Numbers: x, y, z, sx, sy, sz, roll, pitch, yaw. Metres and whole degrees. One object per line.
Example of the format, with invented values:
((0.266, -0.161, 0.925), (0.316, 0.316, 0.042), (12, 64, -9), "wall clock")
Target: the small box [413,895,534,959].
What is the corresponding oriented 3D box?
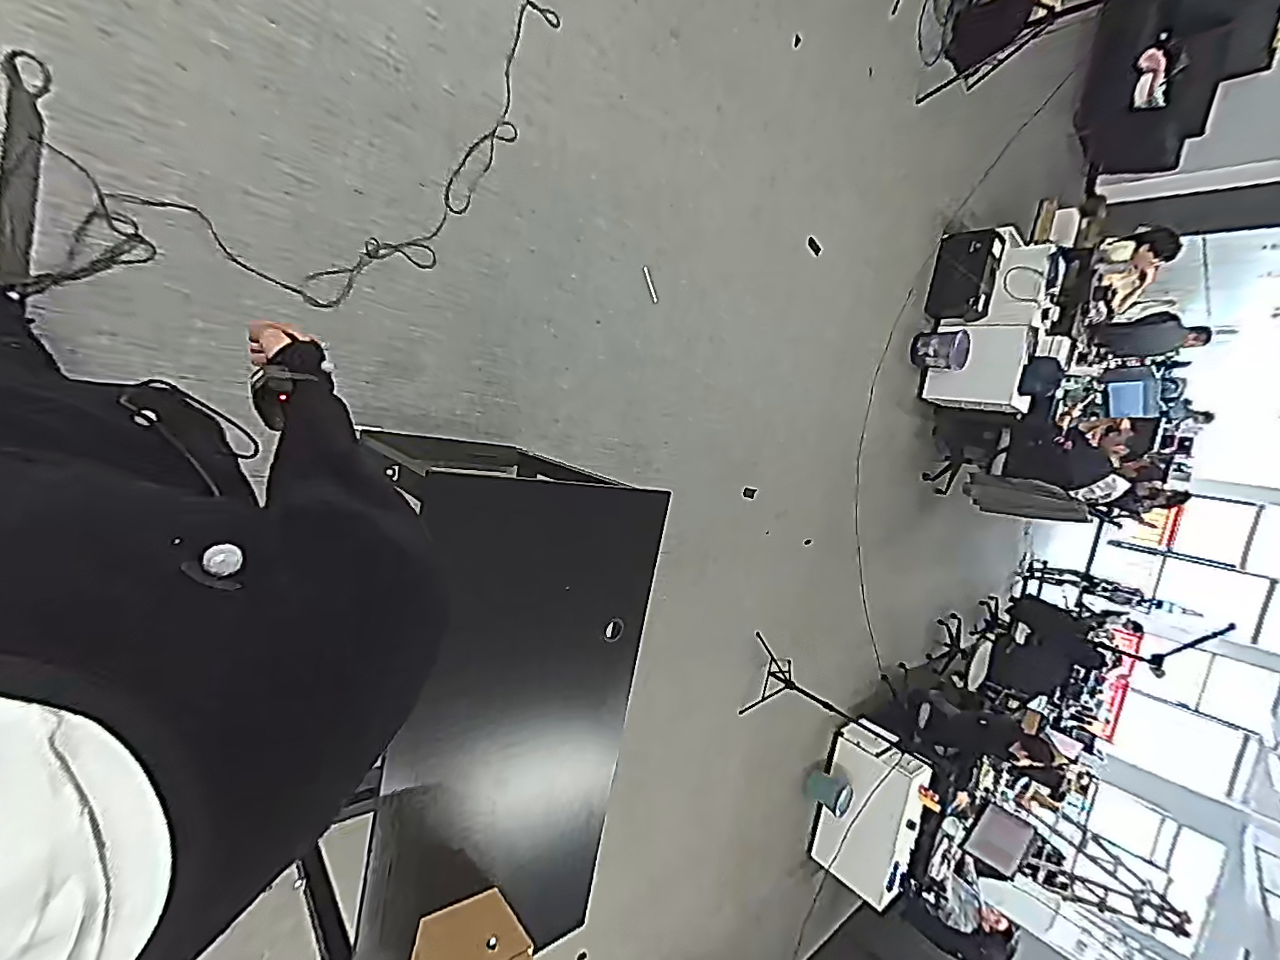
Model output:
((-0.350, 1.006, 1.106), (0.179, 0.176, 0.168), (12, 92, -44), "small box")
